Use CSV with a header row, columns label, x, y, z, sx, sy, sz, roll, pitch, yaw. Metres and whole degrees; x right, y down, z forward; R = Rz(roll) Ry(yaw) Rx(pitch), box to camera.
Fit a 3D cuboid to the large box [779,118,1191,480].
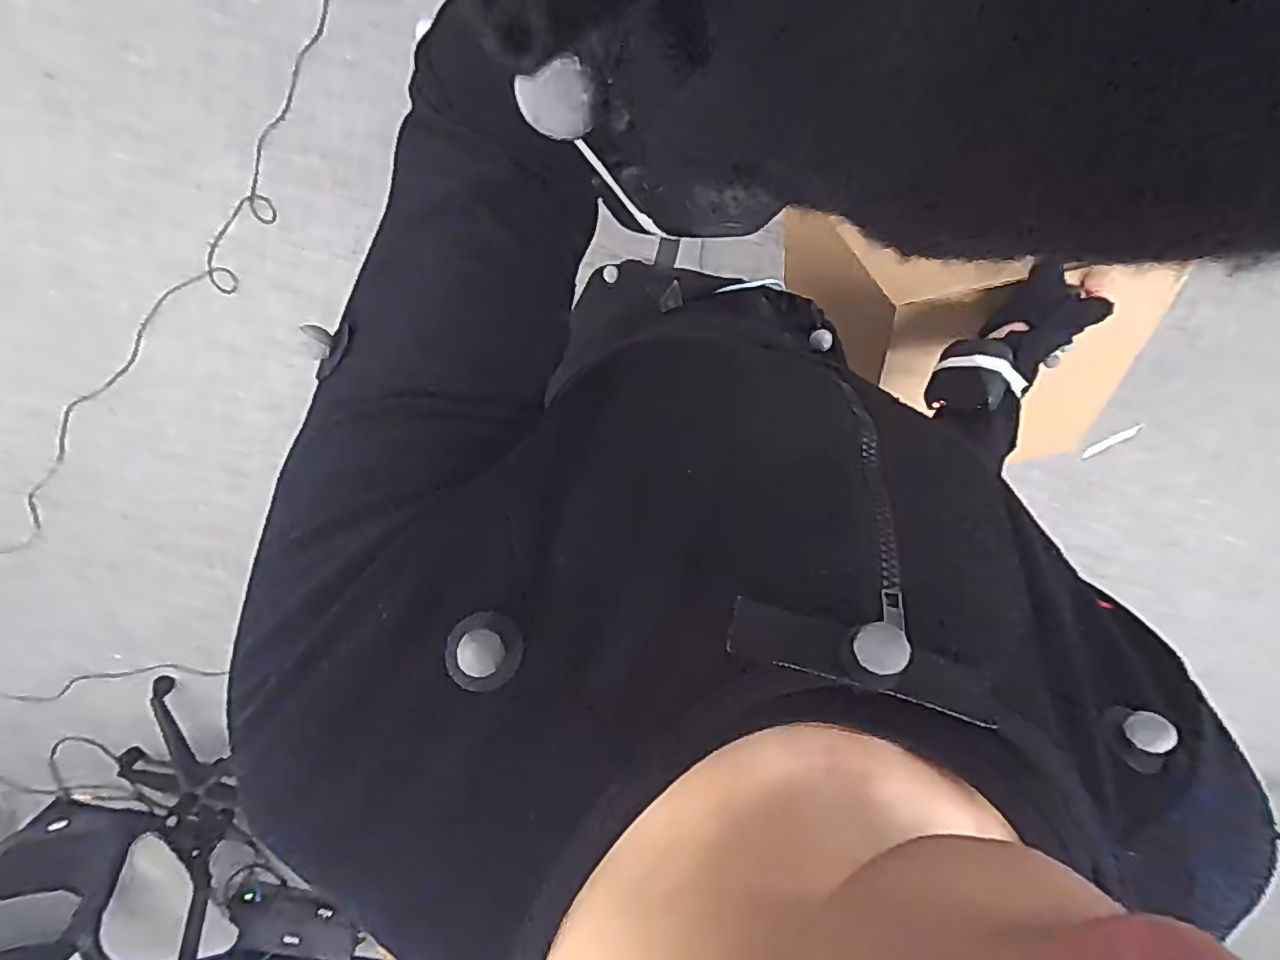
label,x,y,z,sx,sy,sz,roll,pitch,yaw
large box,0.417,-0.266,0.801,0.320,0.408,0.320,-12,141,4
